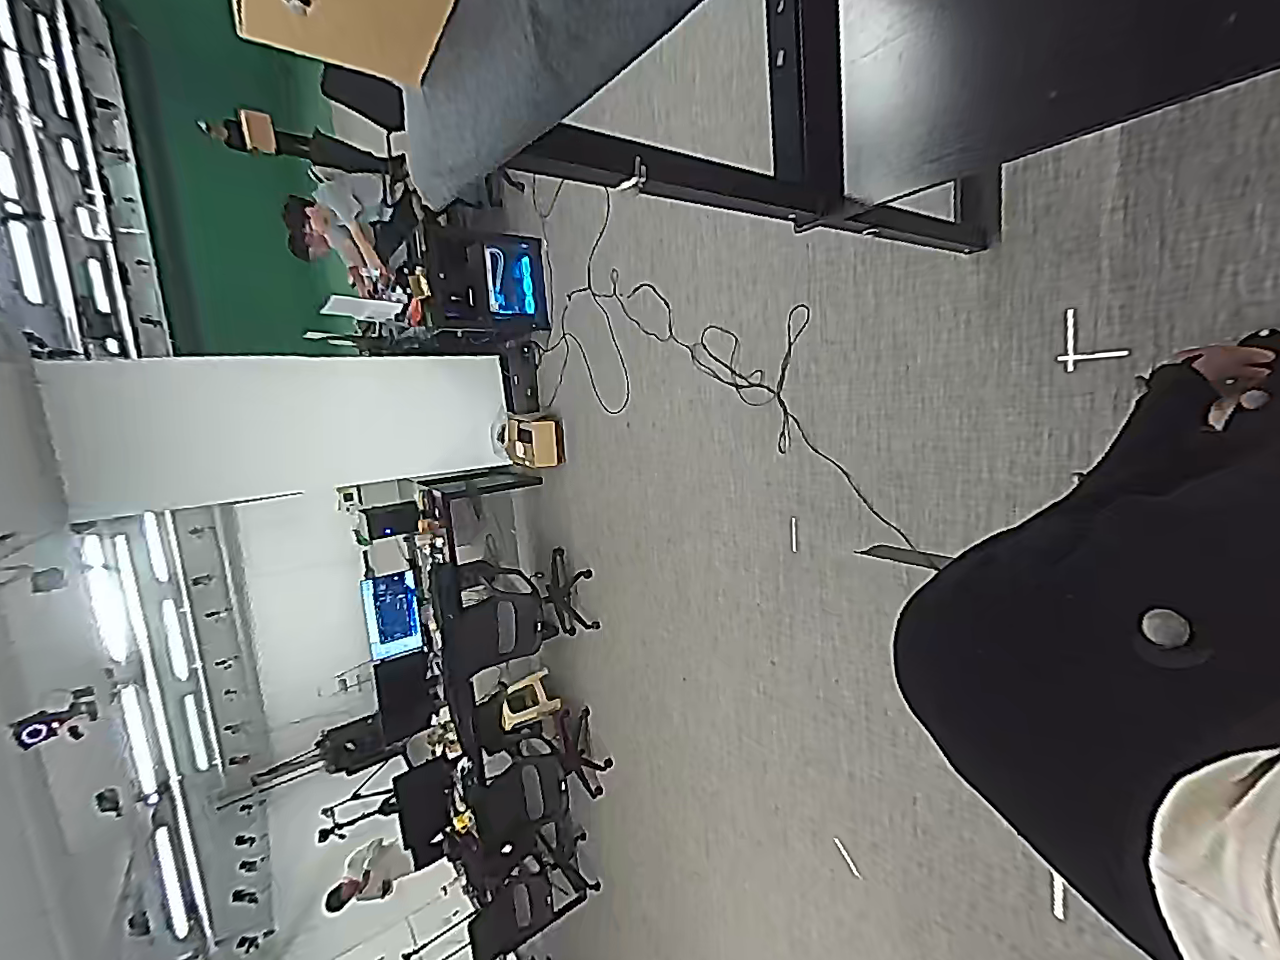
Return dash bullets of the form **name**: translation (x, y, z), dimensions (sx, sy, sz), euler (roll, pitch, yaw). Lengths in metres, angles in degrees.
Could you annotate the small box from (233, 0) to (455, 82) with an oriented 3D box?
- **small box**: translation (-0.275, -0.511, 0.492), dimensions (0.179, 0.176, 0.168), euler (1, 98, 54)
